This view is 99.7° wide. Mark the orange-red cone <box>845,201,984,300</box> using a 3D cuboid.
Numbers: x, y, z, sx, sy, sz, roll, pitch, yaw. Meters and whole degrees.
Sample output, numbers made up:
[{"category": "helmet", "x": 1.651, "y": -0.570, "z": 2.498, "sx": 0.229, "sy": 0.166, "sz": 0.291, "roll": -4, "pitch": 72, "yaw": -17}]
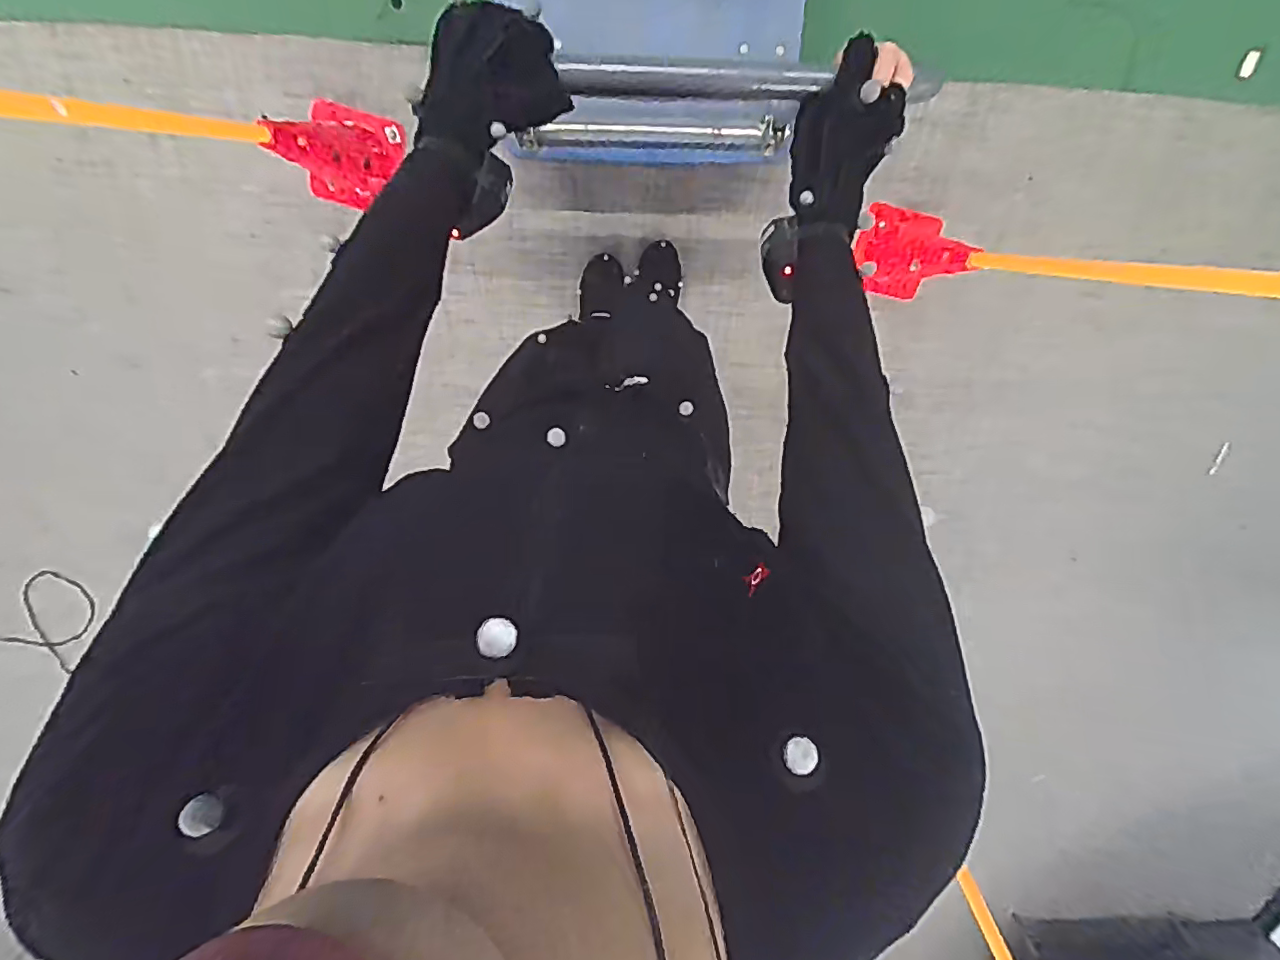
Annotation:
[{"category": "orange-red cone", "x": 0.634, "y": -0.492, "z": 1.187, "sx": 0.198, "sy": 0.360, "sz": 0.199, "roll": 12, "pitch": 114, "yaw": -7}]
